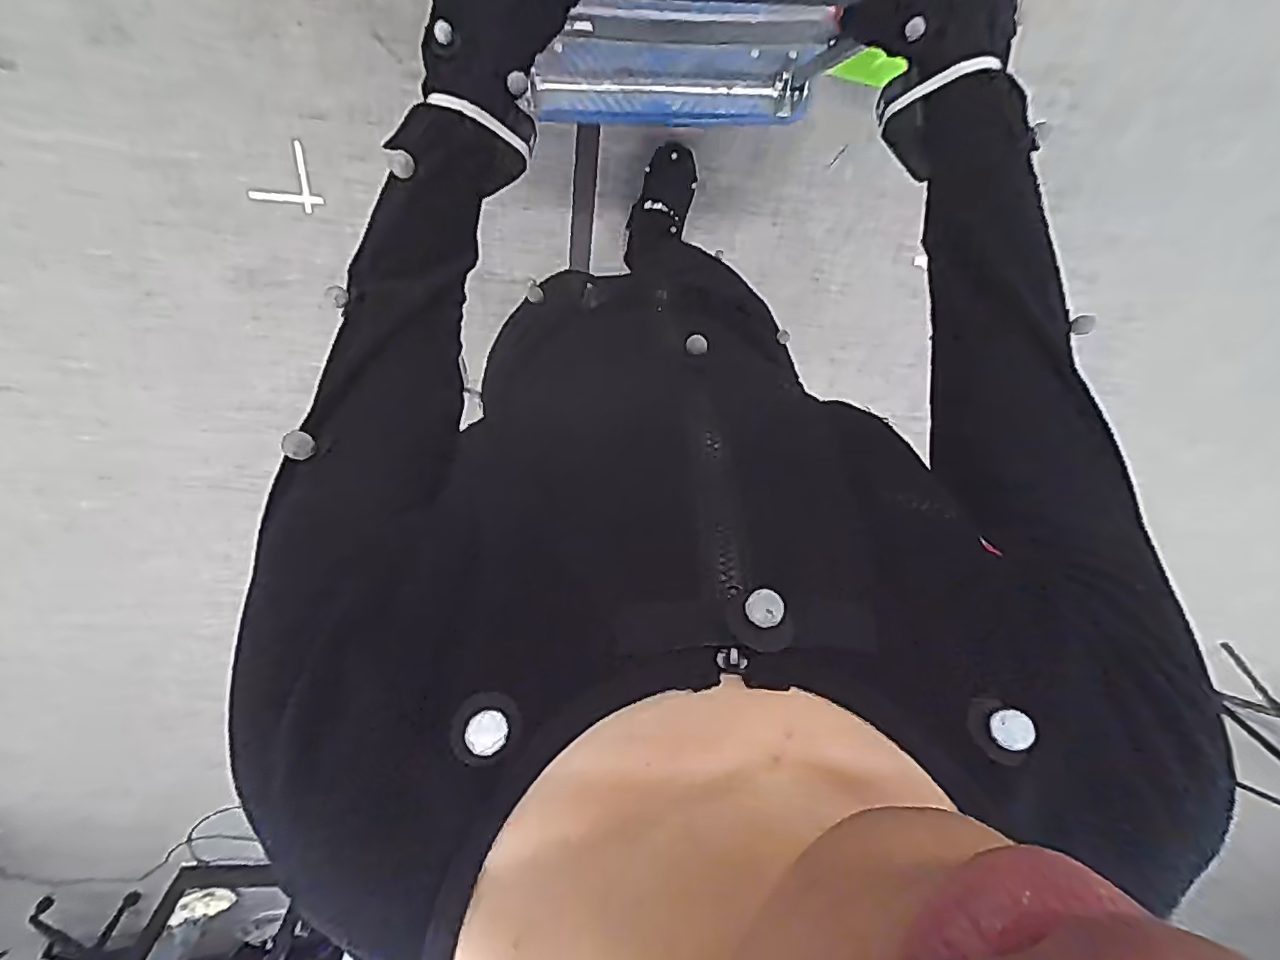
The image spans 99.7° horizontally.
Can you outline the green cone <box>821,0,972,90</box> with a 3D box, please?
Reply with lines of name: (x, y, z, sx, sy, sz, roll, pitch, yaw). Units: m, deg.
green cone: (0.502, -0.849, 0.956, 0.202, 0.368, 0.200, 6, 119, -10)
